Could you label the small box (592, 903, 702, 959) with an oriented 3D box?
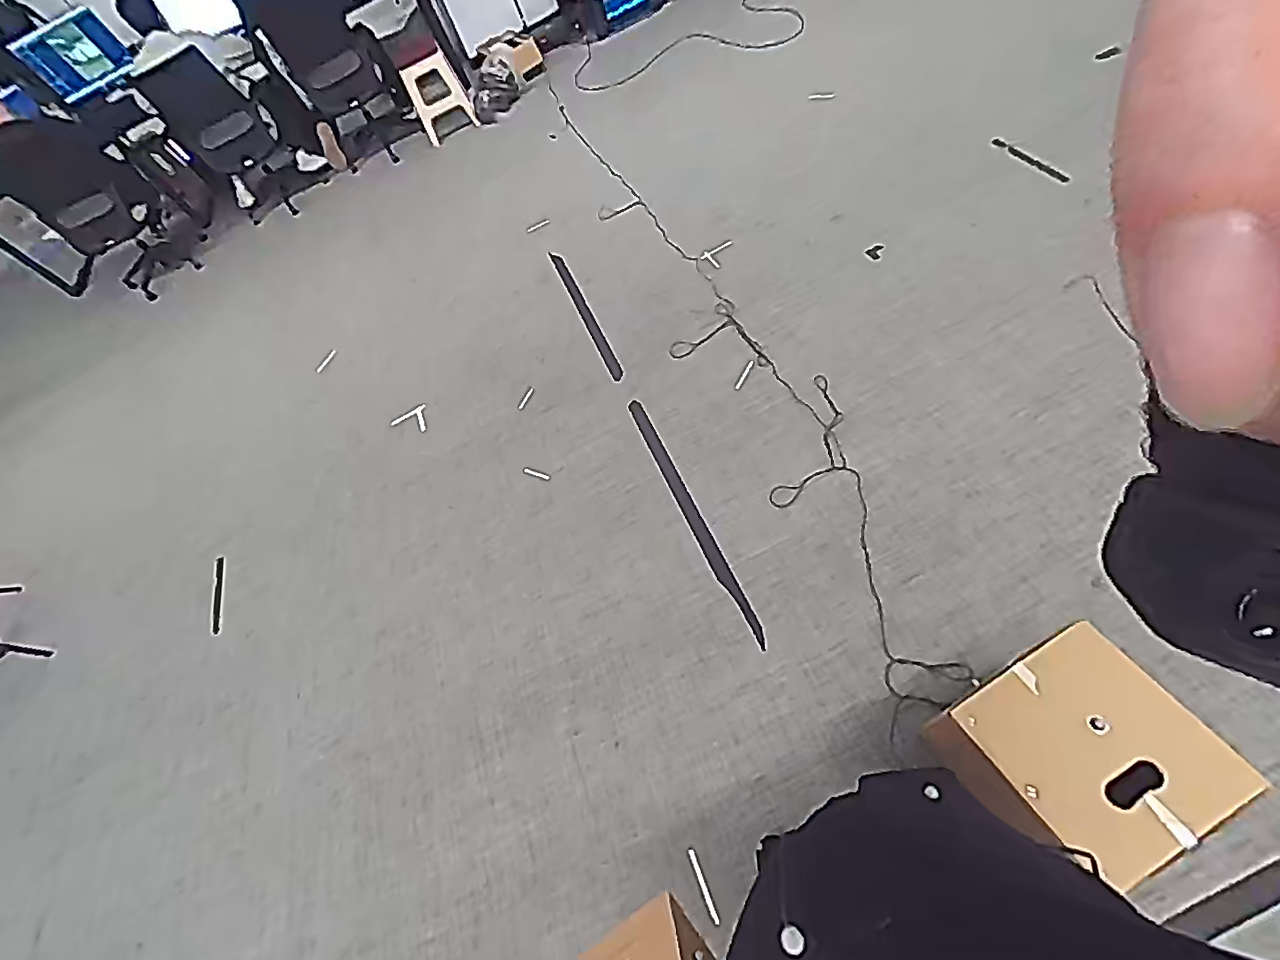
[{"bbox_3d":[0.026,0.726,0.699,0.168,0.179,0.176,-34,89,-6],"label":"small box"}]
